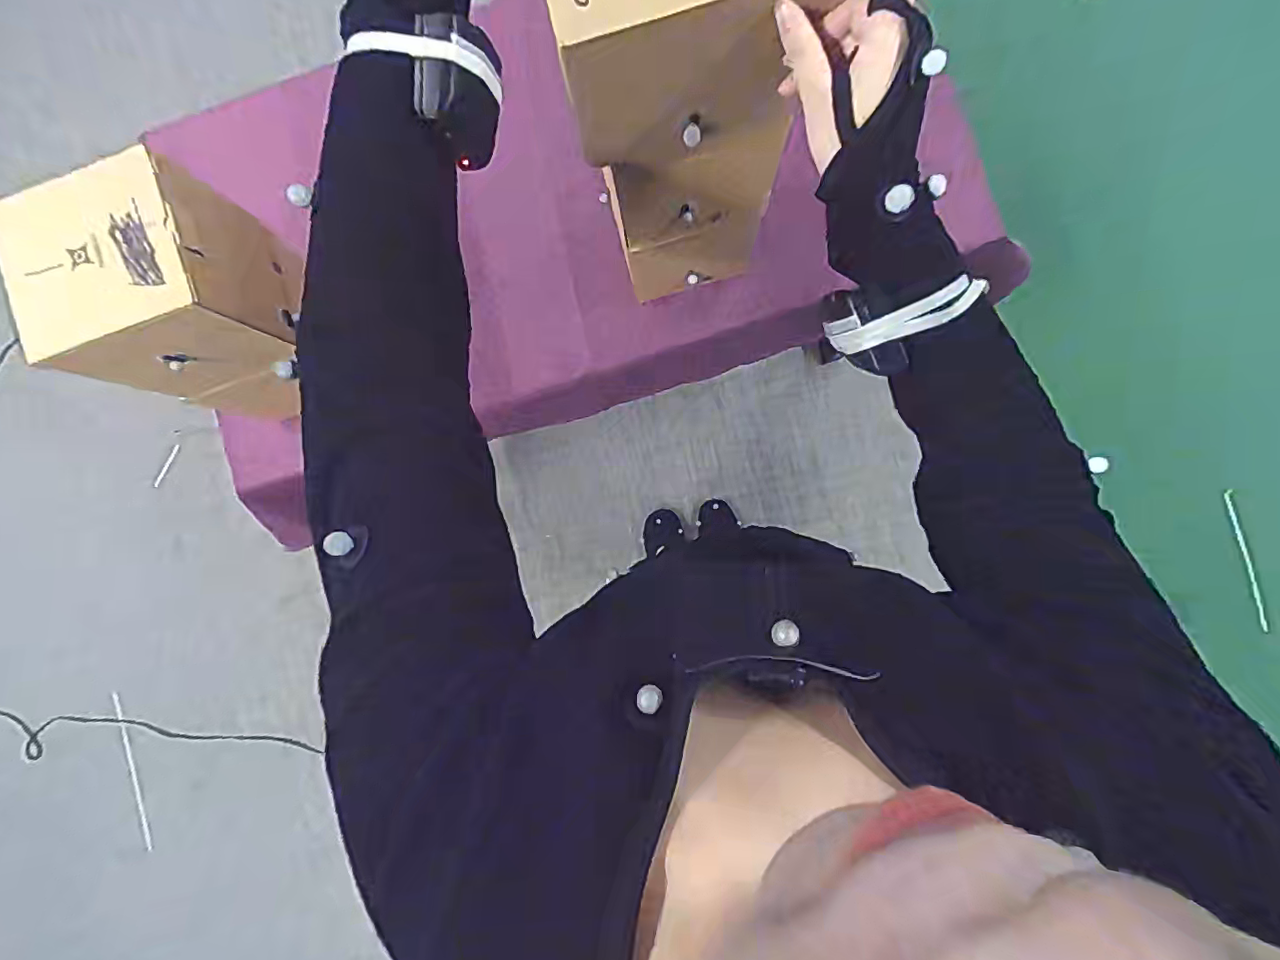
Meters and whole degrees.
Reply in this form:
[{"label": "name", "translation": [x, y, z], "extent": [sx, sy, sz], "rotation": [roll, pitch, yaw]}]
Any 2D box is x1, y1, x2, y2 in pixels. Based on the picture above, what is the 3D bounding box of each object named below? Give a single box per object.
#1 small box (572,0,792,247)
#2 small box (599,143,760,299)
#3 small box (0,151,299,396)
[{"label": "small box", "translation": [0.038, -0.375, 0.555], "extent": [0.168, 0.176, 0.179], "rotation": [-15, 88, 4]}, {"label": "small box", "translation": [0.047, -0.369, 0.718], "extent": [0.168, 0.176, 0.179], "rotation": [-15, 88, 4]}, {"label": "small box", "translation": [-0.512, -0.205, 0.589], "extent": [0.179, 0.176, 0.168], "rotation": [-20, 87, 3]}]
